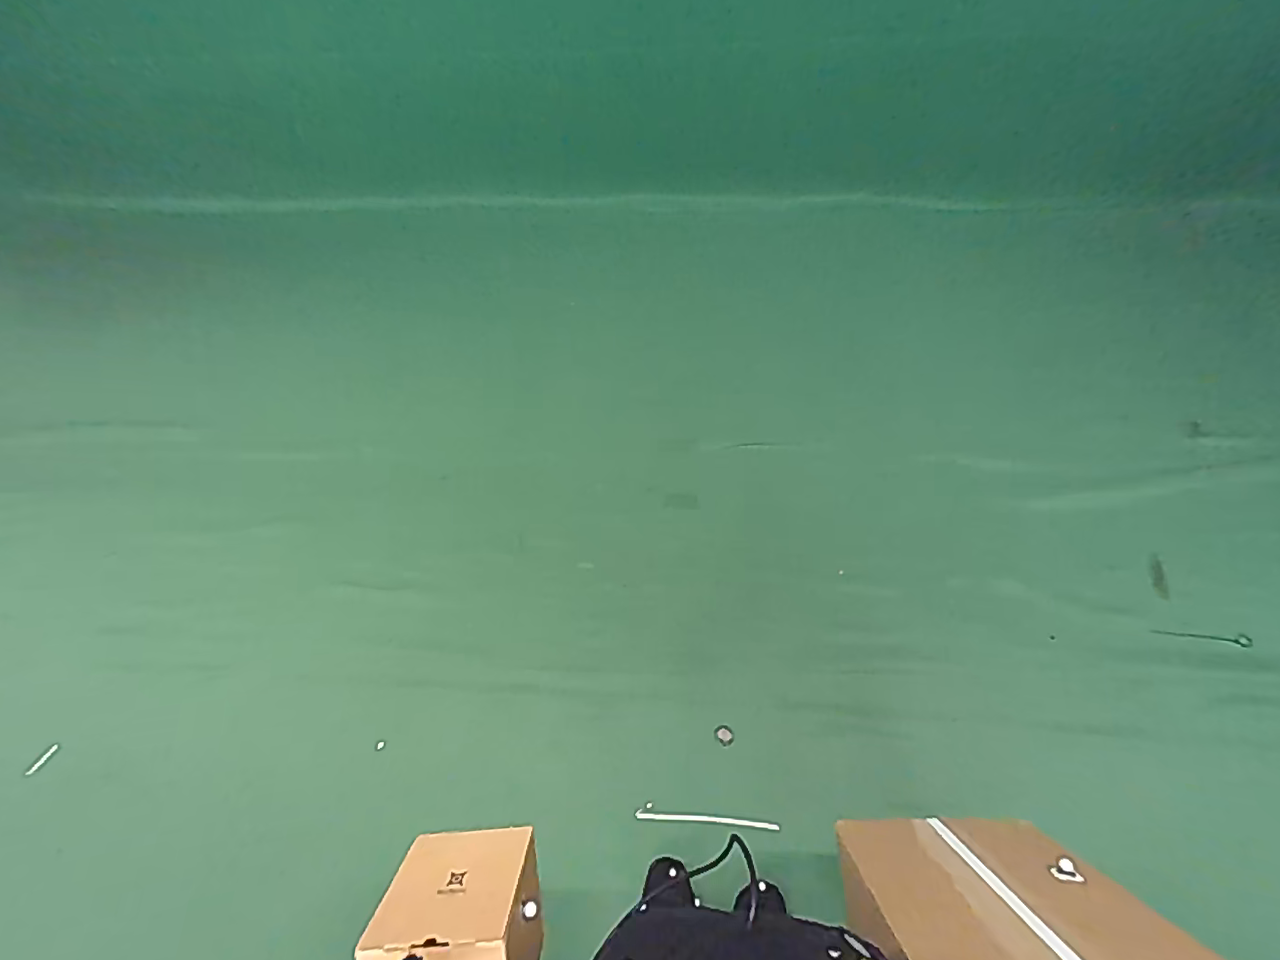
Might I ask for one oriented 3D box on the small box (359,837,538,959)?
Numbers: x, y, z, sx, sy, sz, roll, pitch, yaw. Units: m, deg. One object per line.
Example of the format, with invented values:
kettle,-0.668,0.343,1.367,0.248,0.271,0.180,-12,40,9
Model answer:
small box,-0.227,0.596,0.683,0.168,0.179,0.176,-4,94,-1
